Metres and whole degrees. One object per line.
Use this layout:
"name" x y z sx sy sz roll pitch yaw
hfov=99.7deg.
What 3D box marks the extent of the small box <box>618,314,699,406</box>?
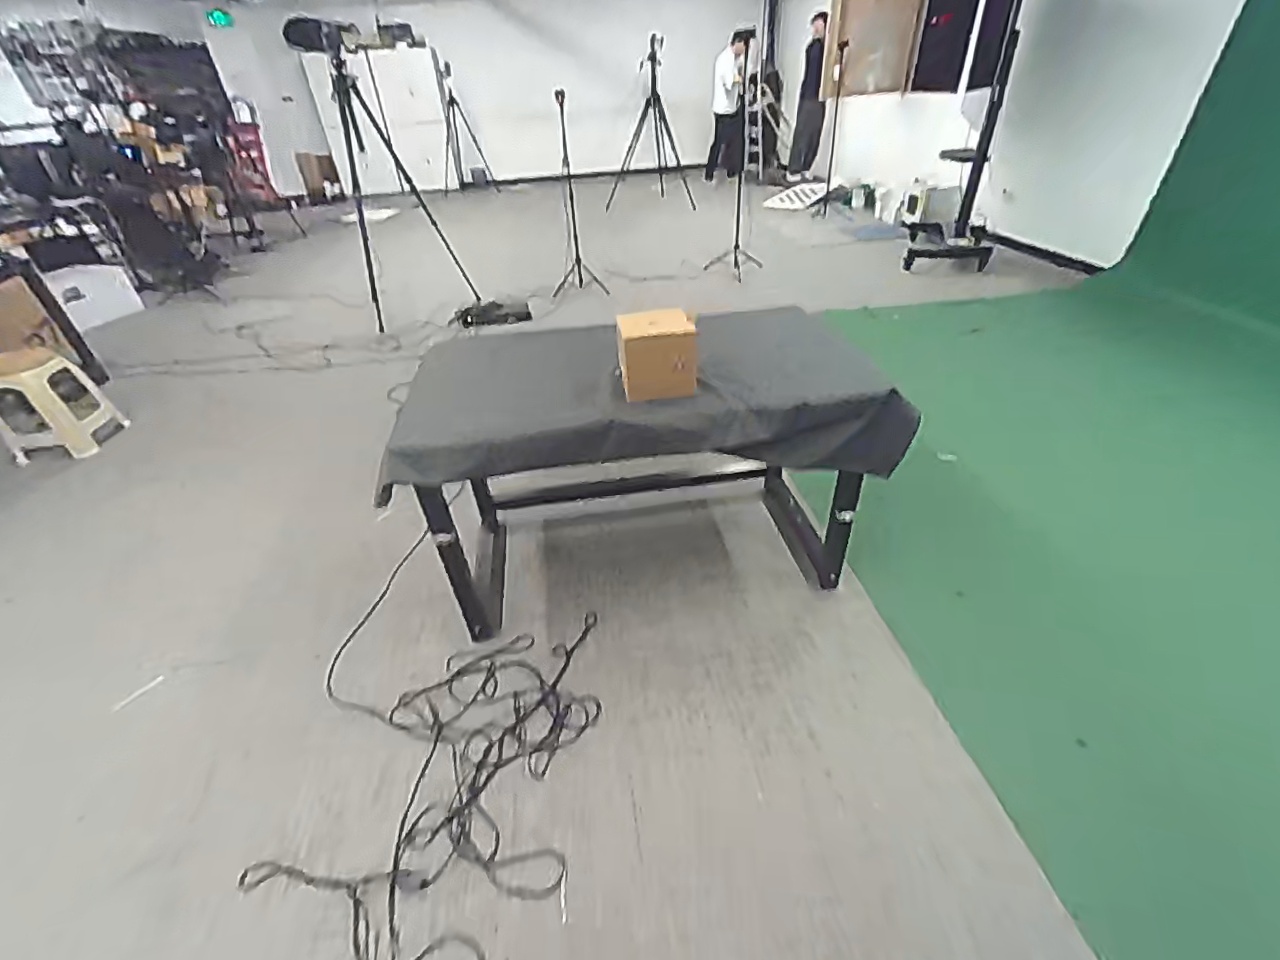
"small box" 0.045 -0.302 1.359 0.179 0.176 0.168 -8 35 -5
